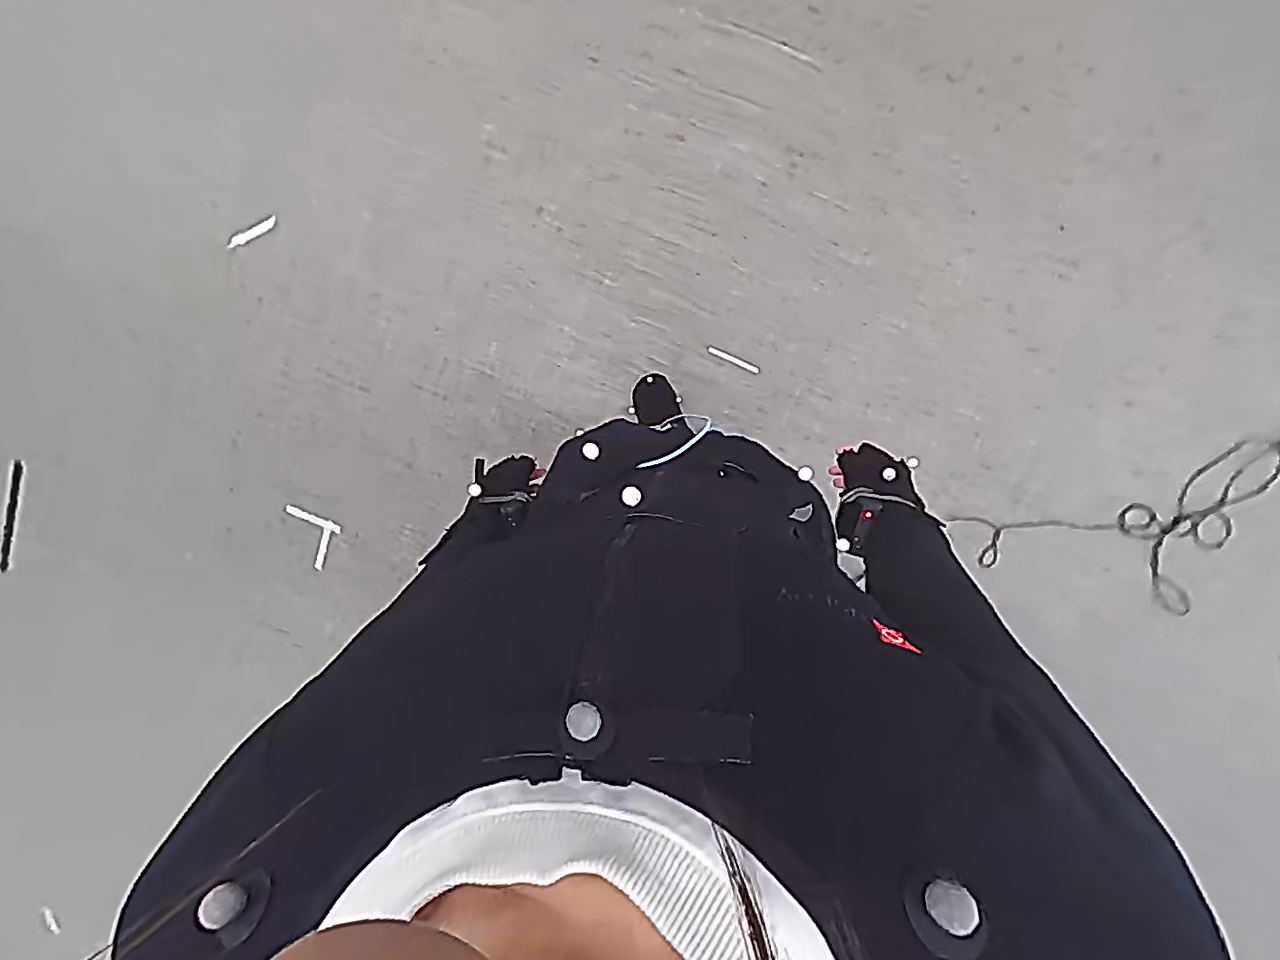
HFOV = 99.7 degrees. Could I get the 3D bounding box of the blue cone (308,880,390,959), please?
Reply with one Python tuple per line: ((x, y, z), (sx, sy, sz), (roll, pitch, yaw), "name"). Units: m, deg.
((-0.961, 1.476, 1.653), (0.192, 0.380, 0.193), (29, 102, 2), "blue cone")
